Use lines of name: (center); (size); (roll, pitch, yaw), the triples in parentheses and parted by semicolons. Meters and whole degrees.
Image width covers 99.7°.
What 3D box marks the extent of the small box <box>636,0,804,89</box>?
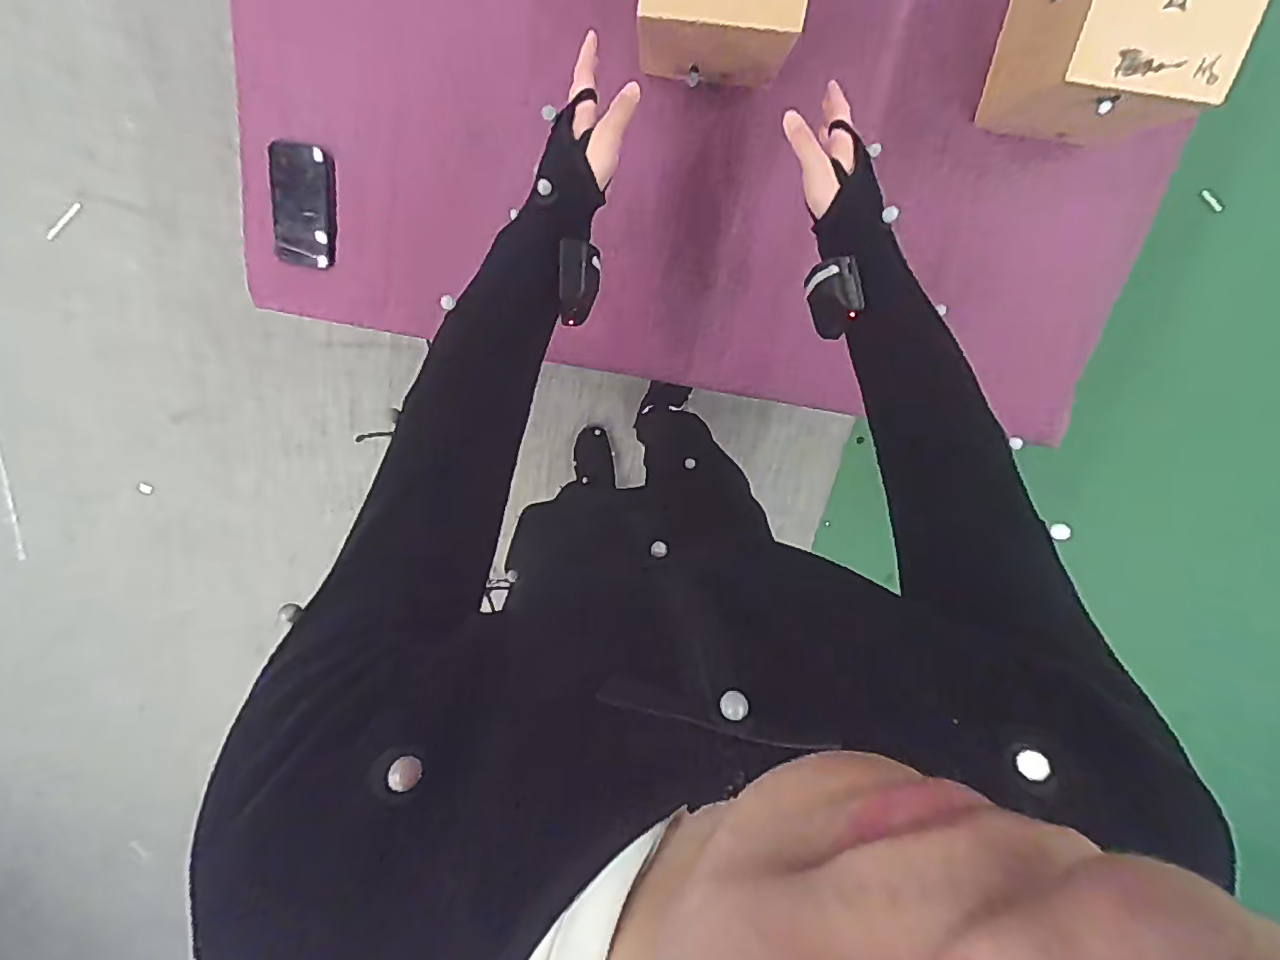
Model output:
small box: (0.087, -0.555, 0.573); (0.168, 0.176, 0.179); (7, 110, 0)

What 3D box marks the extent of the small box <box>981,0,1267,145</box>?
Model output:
small box: (0.512, -0.493, 0.583); (0.168, 0.176, 0.179); (8, 109, -1)
